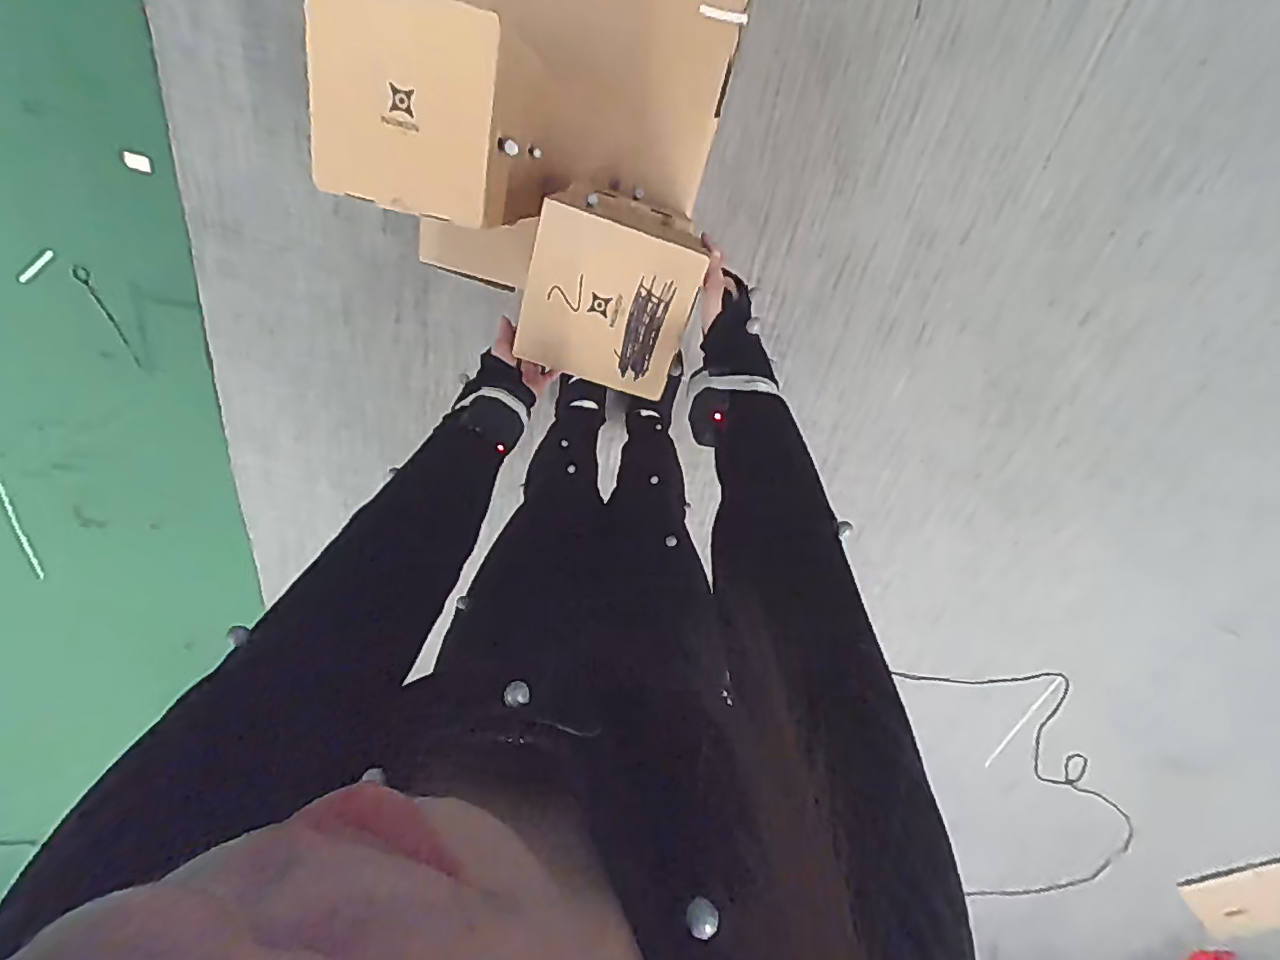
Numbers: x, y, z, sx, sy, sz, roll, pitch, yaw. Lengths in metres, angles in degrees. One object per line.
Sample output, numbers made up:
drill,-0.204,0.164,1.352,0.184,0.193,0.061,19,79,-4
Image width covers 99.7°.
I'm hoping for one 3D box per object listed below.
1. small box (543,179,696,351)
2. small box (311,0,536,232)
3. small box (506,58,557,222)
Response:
small box,-0.031,-0.310,0.778,0.168,0.176,0.179,15,117,-7
small box,-0.212,-0.380,0.561,0.168,0.176,0.179,14,120,-6
small box,-0.213,-0.456,0.706,0.168,0.176,0.179,14,117,-6
